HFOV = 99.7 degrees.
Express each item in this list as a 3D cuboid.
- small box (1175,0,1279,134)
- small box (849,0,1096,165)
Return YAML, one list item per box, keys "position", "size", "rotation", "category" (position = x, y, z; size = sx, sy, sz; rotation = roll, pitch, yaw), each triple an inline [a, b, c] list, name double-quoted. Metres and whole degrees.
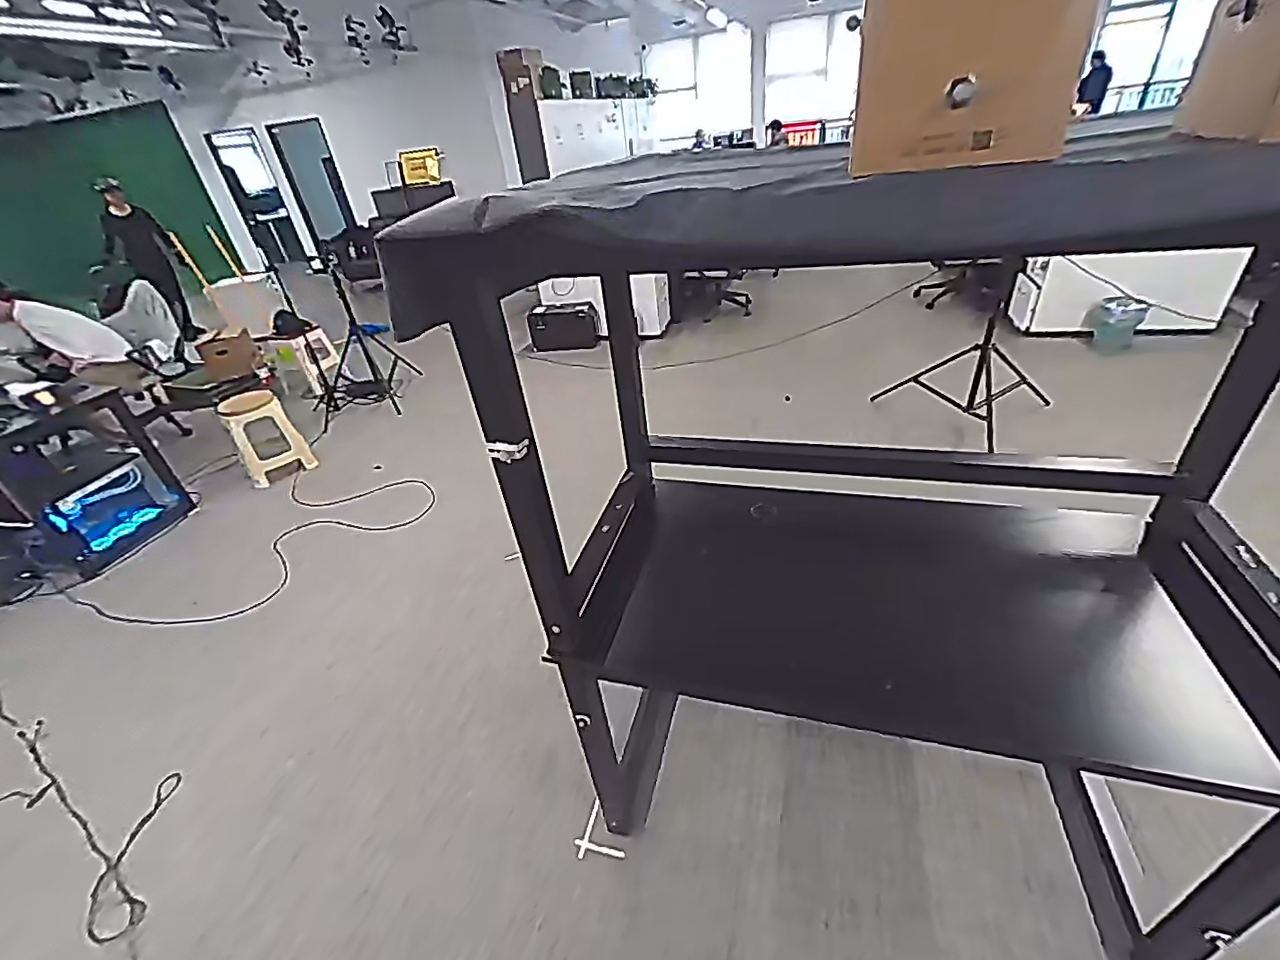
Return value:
- position: [0.574, -0.374, 0.413]
  size: [0.168, 0.176, 0.179]
  rotation: [7, 34, 21]
  category: "small box"
- position: [0.287, -0.393, 0.496]
  size: [0.168, 0.176, 0.179]
  rotation: [5, 33, 18]
  category: "small box"
